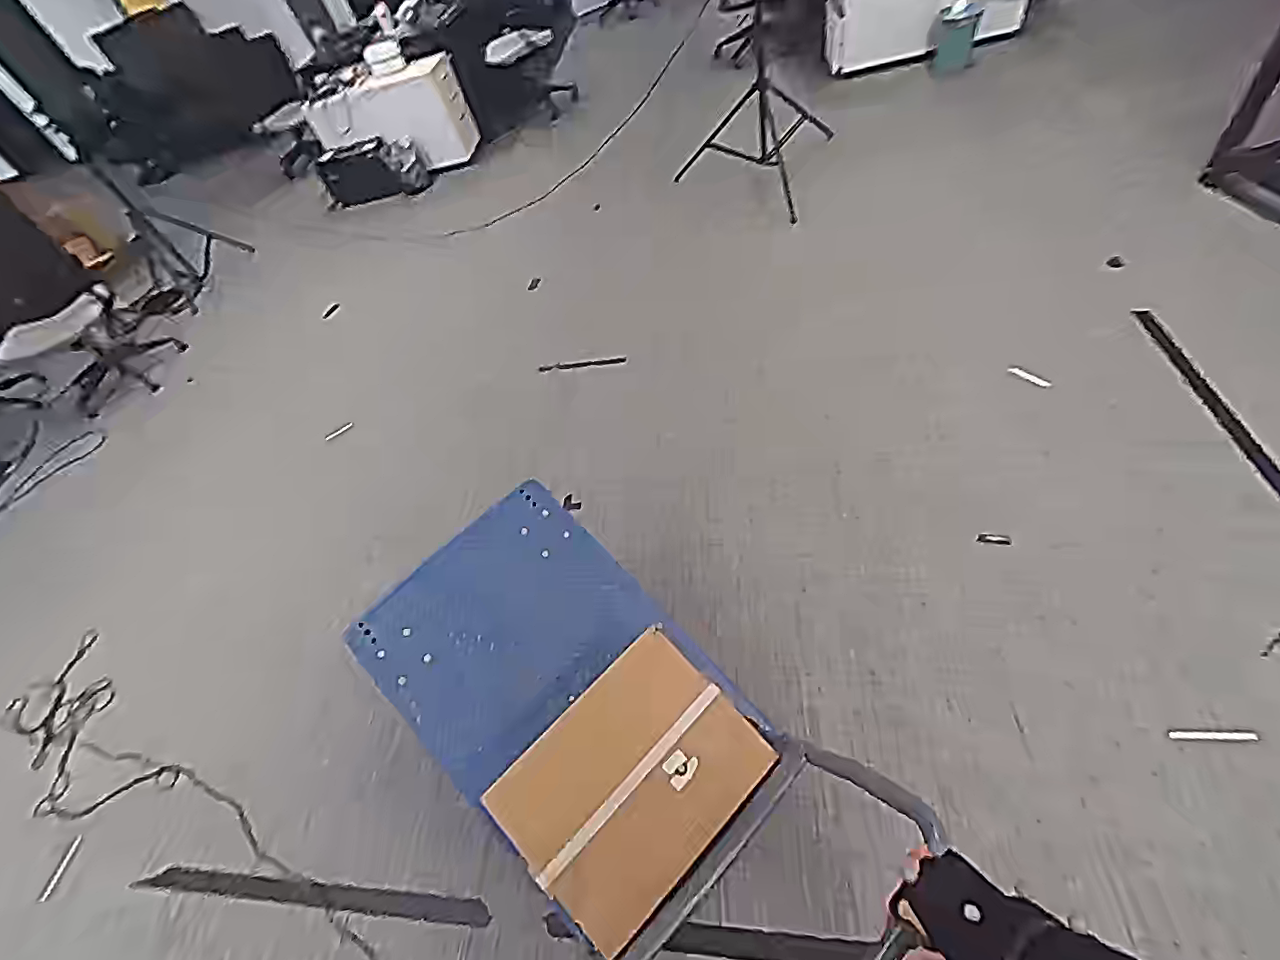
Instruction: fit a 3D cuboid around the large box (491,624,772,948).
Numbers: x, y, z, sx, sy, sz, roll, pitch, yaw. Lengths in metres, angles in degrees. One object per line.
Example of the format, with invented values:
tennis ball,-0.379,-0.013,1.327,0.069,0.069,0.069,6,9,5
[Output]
large box,-0.018,0.555,1.064,0.320,0.320,0.408,44,72,12
